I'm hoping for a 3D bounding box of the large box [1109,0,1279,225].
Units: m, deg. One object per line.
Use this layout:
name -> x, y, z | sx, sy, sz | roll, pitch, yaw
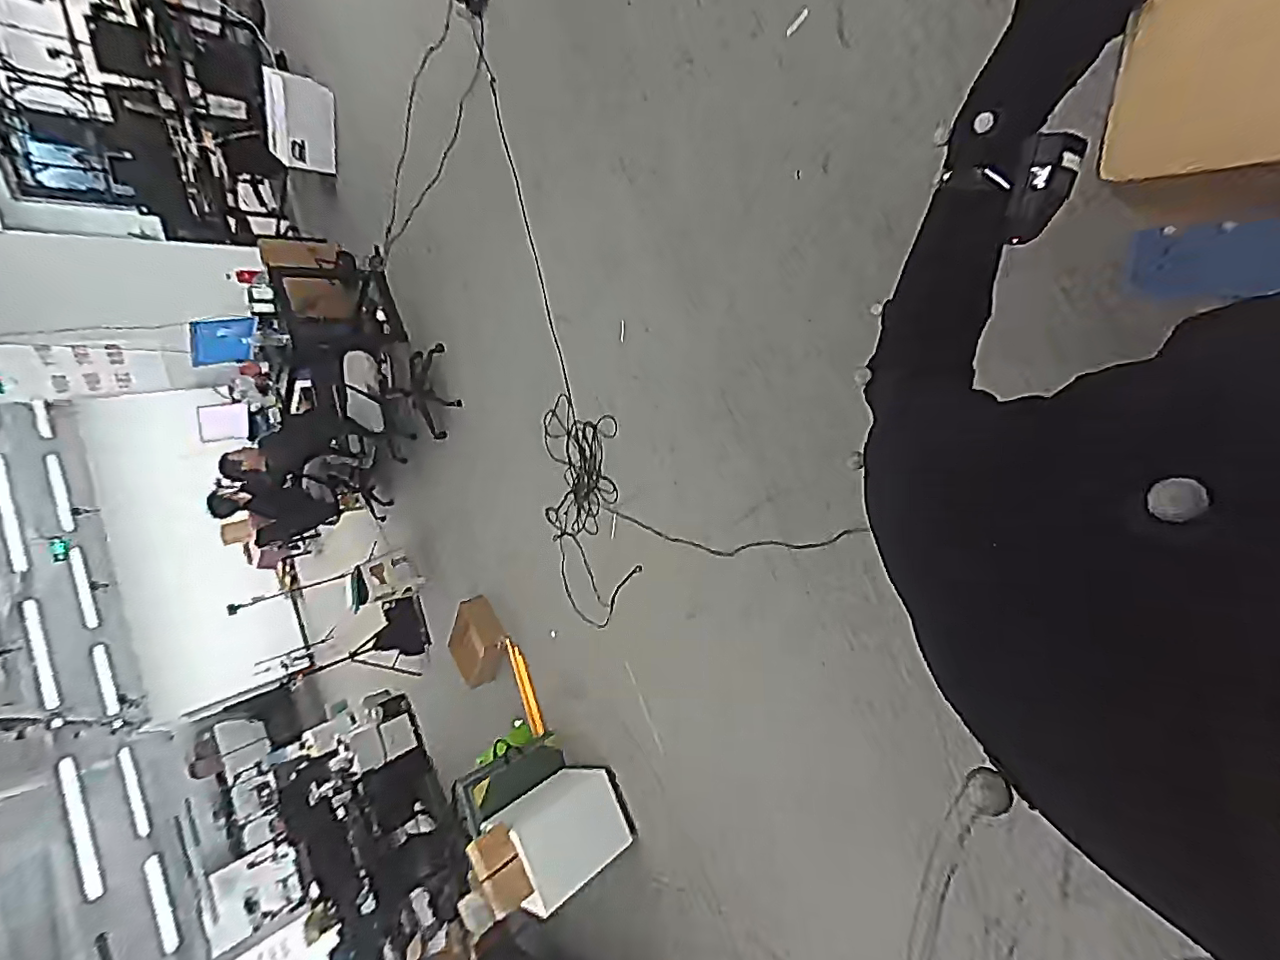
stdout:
large box -> 0.563, -0.354, 0.304 | 0.408, 0.320, 0.320 | 15, 113, 42
